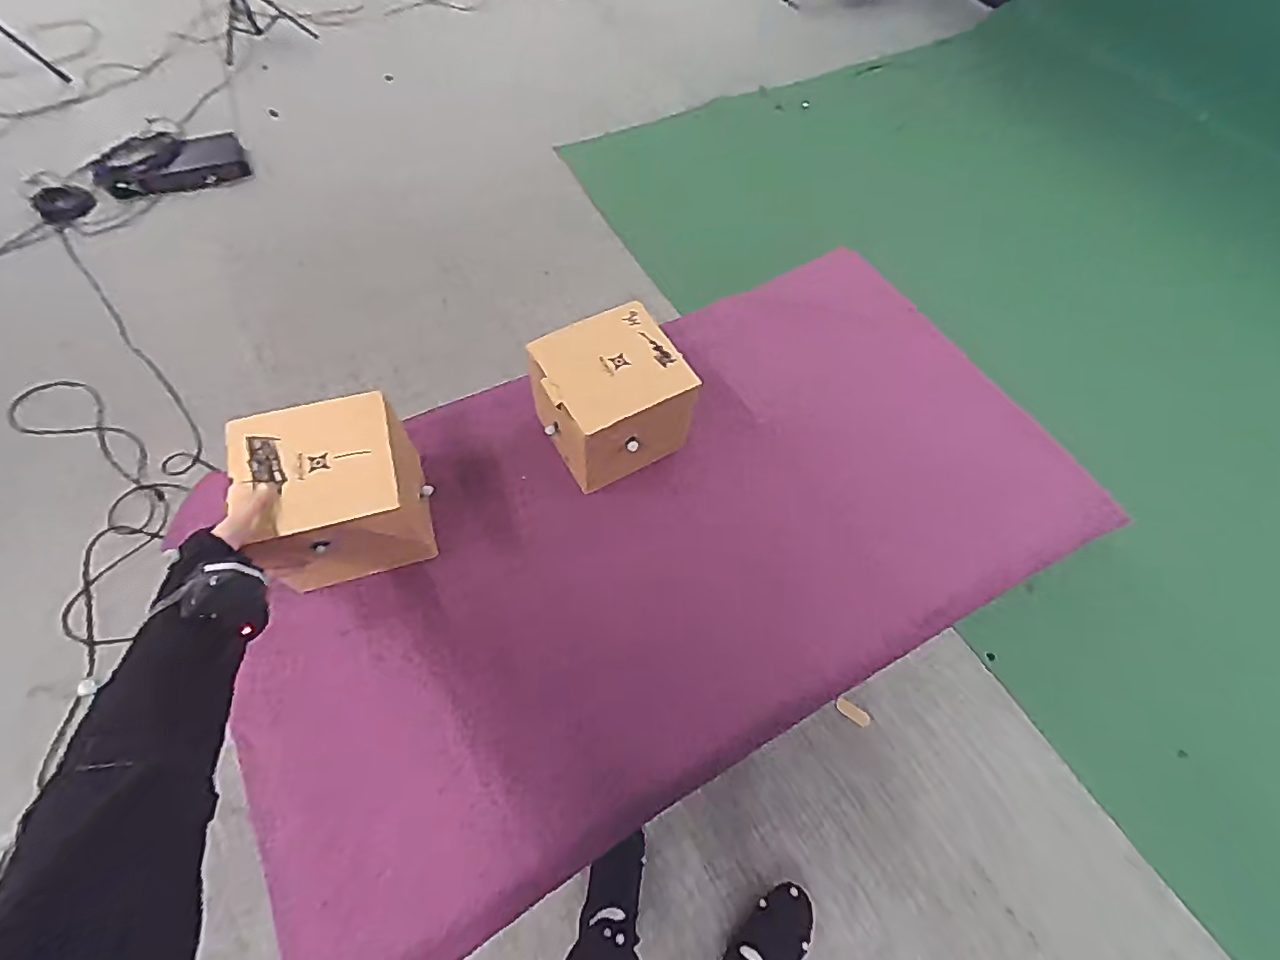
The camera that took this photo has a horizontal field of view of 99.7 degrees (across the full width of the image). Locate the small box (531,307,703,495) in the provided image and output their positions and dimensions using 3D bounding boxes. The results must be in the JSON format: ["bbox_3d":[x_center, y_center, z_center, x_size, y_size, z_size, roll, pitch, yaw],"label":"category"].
[{"bbox_3d":[-0.034,-0.105,0.770,0.179,0.176,0.168,-27,68,-16],"label":"small box"}]

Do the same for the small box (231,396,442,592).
[{"bbox_3d":[-0.367,0.024,0.676,0.179,0.176,0.168,-14,65,-12],"label":"small box"}]
